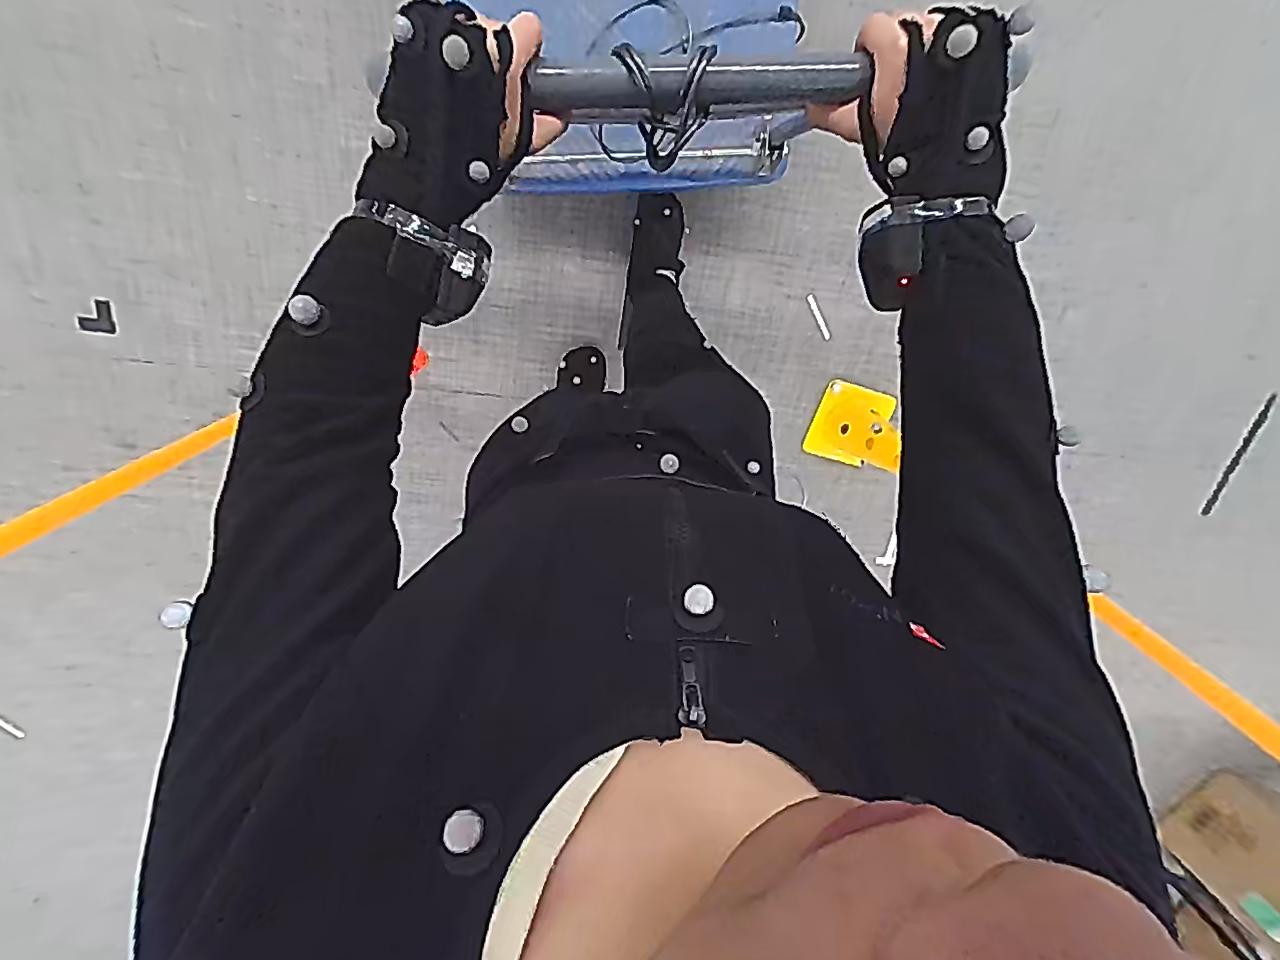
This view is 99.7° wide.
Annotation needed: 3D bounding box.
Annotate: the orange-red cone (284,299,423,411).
[{"bbox_3d":[-0.595,-0.208,1.054,0.199,0.360,0.198,-36,114,8],"label":"orange-red cone"}]
